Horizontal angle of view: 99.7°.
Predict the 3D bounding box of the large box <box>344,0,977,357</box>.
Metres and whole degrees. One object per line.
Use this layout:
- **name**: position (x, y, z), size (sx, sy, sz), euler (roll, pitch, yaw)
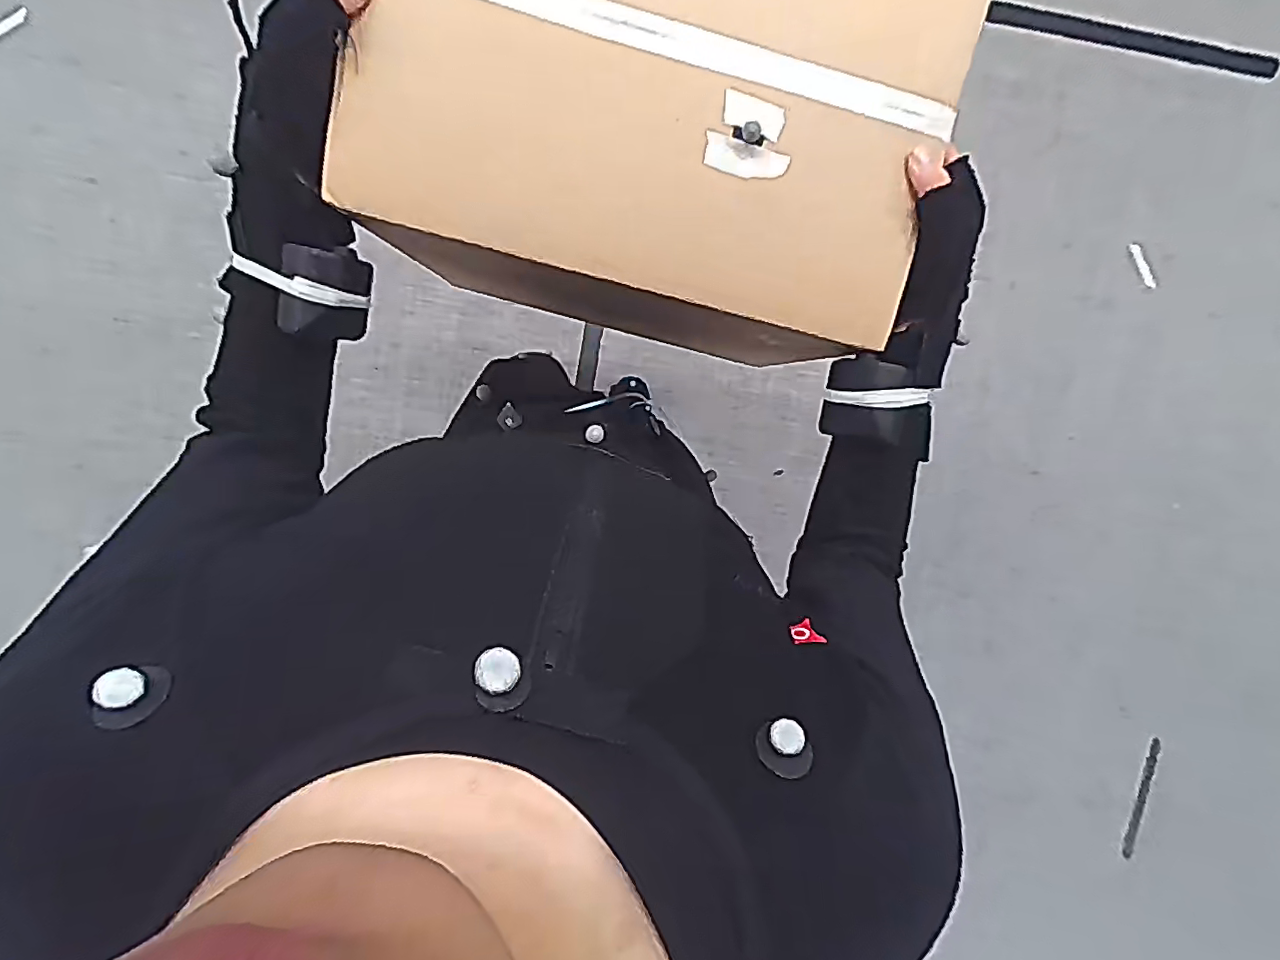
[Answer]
- **large box**: position (0.009, -0.318, 0.513), size (0.408, 0.320, 0.320), euler (13, 100, -6)
